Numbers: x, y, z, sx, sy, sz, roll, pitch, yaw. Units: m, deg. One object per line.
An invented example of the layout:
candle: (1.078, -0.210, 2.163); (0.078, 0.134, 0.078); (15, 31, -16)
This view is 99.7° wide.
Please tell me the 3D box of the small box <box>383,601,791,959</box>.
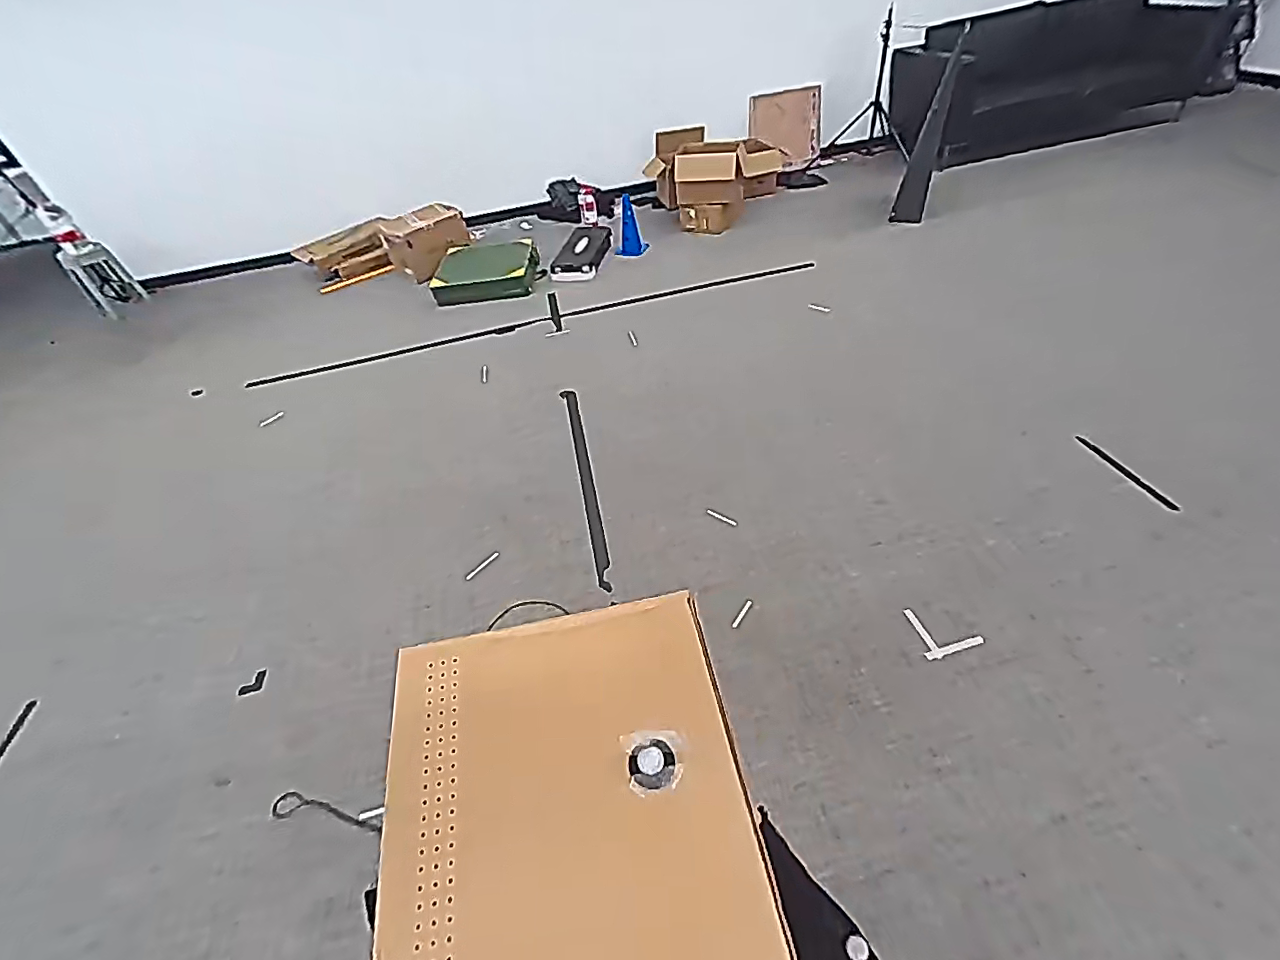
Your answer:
small box: (-0.032, 0.200, 0.319); (0.176, 0.168, 0.179); (-11, 52, -3)
